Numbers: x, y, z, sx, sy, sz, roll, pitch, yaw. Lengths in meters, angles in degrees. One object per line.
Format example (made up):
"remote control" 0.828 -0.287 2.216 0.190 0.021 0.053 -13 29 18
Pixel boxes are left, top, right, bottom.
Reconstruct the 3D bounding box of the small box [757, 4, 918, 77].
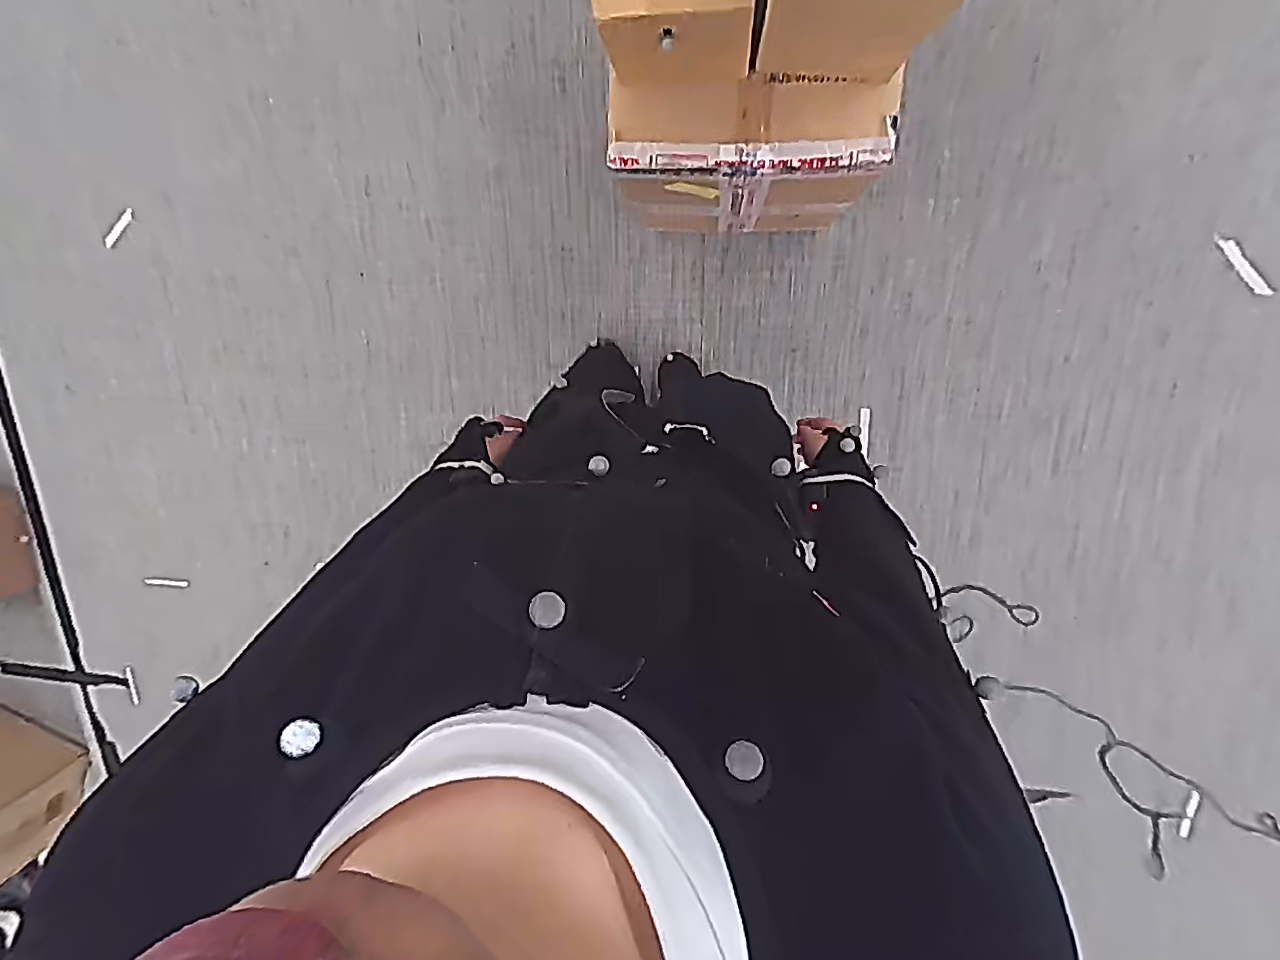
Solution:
"small box" 0.232 -0.578 0.596 0.179 0.176 0.168 8 107 4

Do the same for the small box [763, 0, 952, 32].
"small box" 0.207 -0.509 0.446 0.179 0.176 0.168 5 106 5
